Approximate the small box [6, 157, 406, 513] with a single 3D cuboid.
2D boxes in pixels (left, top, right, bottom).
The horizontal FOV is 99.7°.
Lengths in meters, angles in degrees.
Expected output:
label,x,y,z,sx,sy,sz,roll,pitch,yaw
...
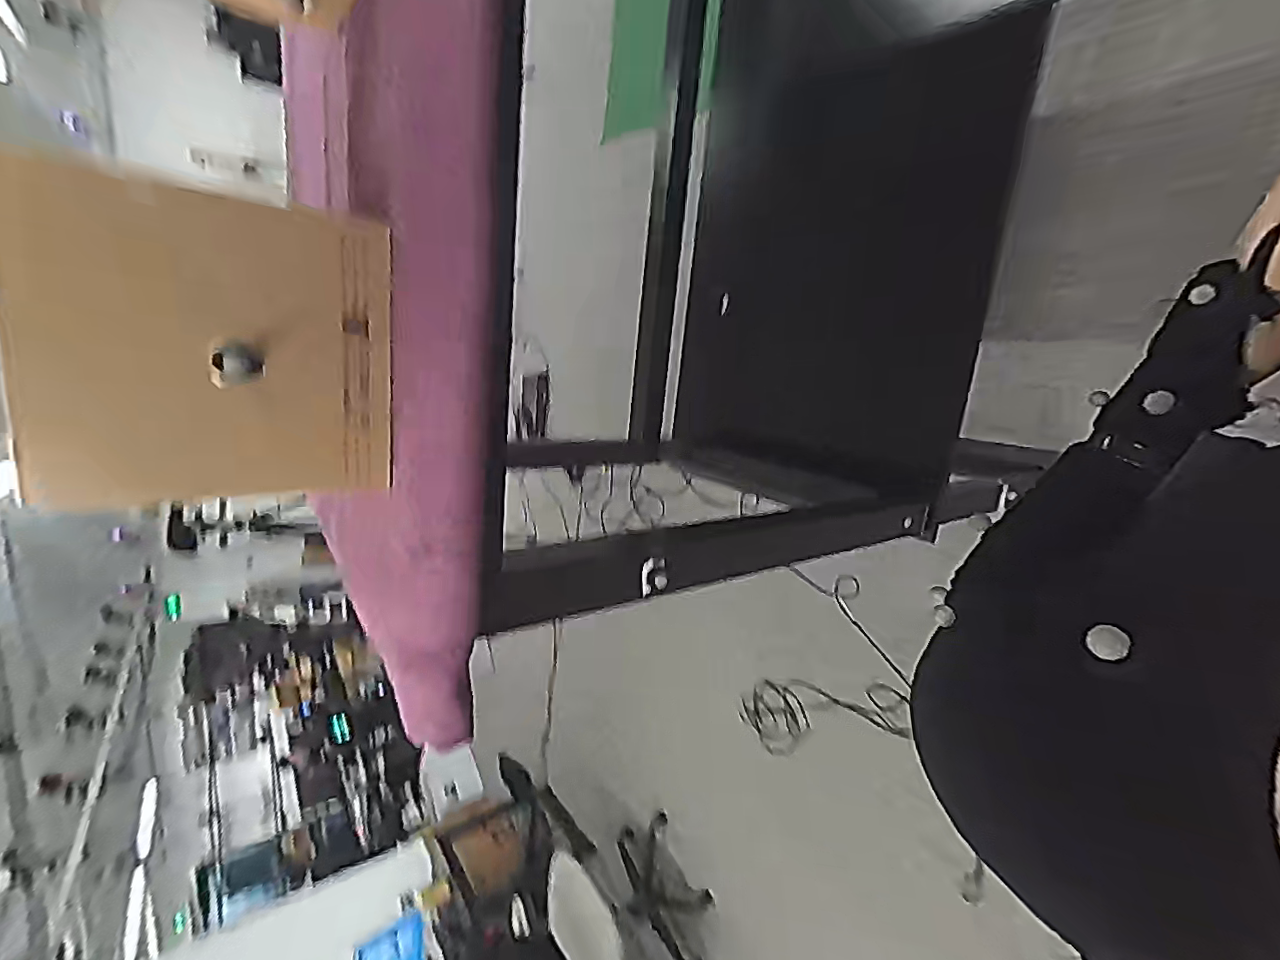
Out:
label,x,y,z,sx,sy,sz,roll,pitch,yaw
small box,-0.265,-0.085,0.363,0.179,0.176,0.168,19,107,50
